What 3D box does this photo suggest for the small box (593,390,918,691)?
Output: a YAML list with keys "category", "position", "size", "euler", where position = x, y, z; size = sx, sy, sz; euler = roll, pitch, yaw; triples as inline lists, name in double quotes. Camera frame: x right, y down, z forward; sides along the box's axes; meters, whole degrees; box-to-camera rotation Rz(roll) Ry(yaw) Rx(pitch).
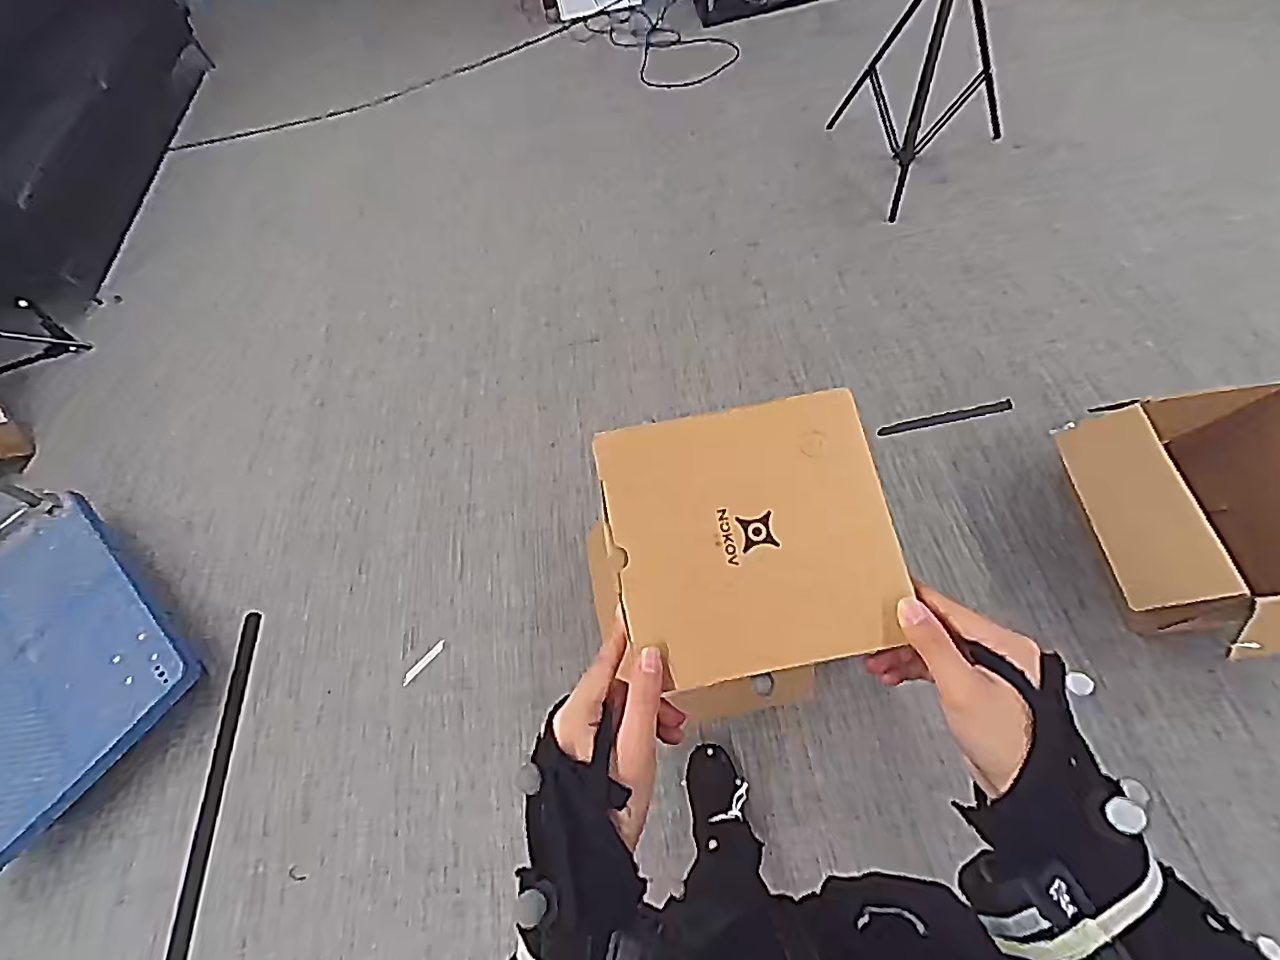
- category: "small box"
  position: [0.070, 0.051, 0.414]
  size: [0.179, 0.176, 0.168]
  euler: [-11, 75, 1]
